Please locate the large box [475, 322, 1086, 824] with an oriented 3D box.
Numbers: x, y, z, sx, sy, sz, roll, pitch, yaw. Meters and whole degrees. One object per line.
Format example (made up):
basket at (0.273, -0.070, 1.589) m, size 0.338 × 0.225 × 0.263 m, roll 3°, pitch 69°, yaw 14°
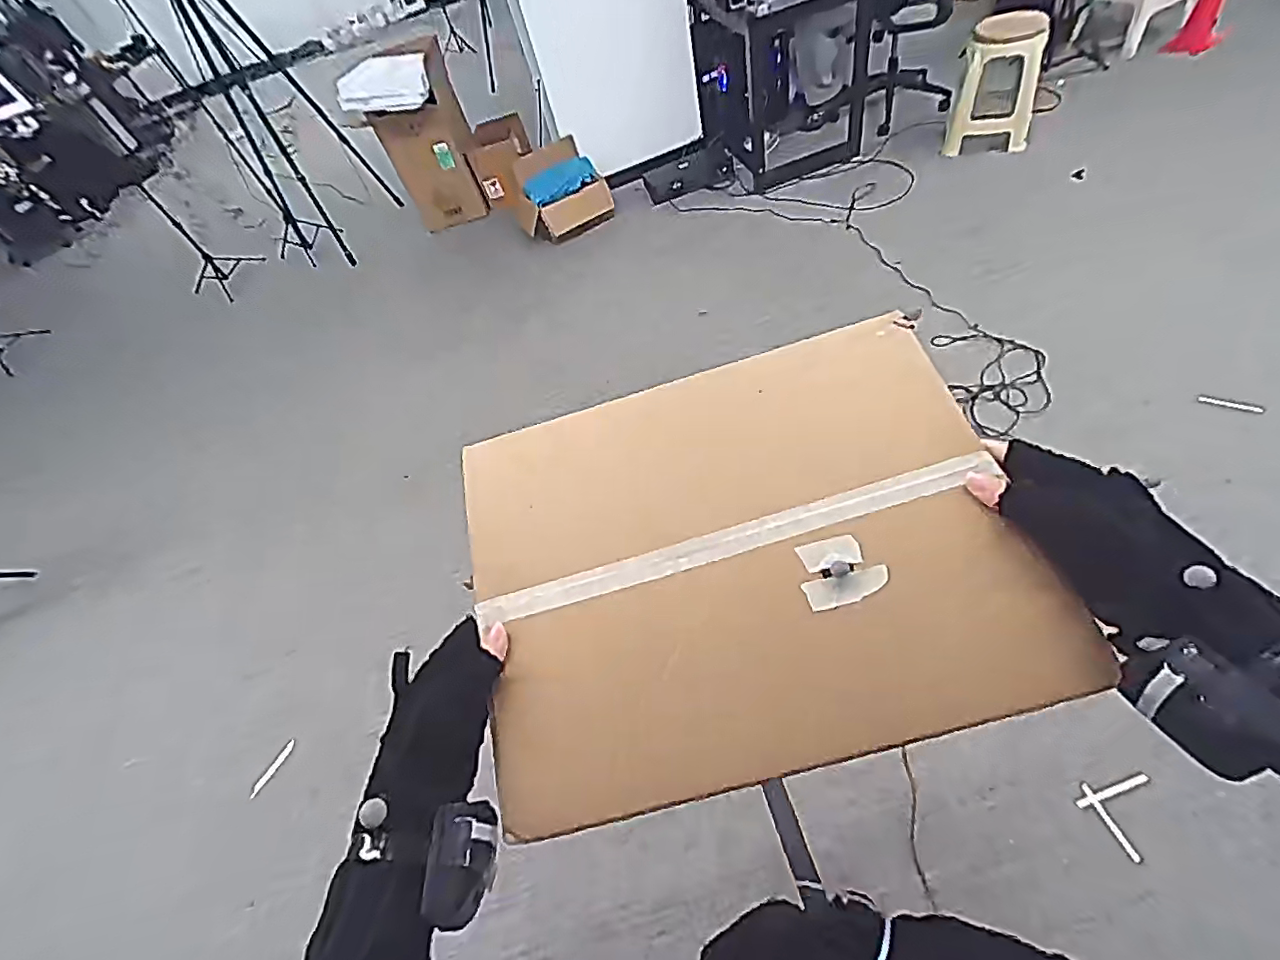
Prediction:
large box at (0.095, 0.109, 0.561) m, size 0.408 × 0.320 × 0.320 m, roll -17°, pitch 64°, yaw 3°
